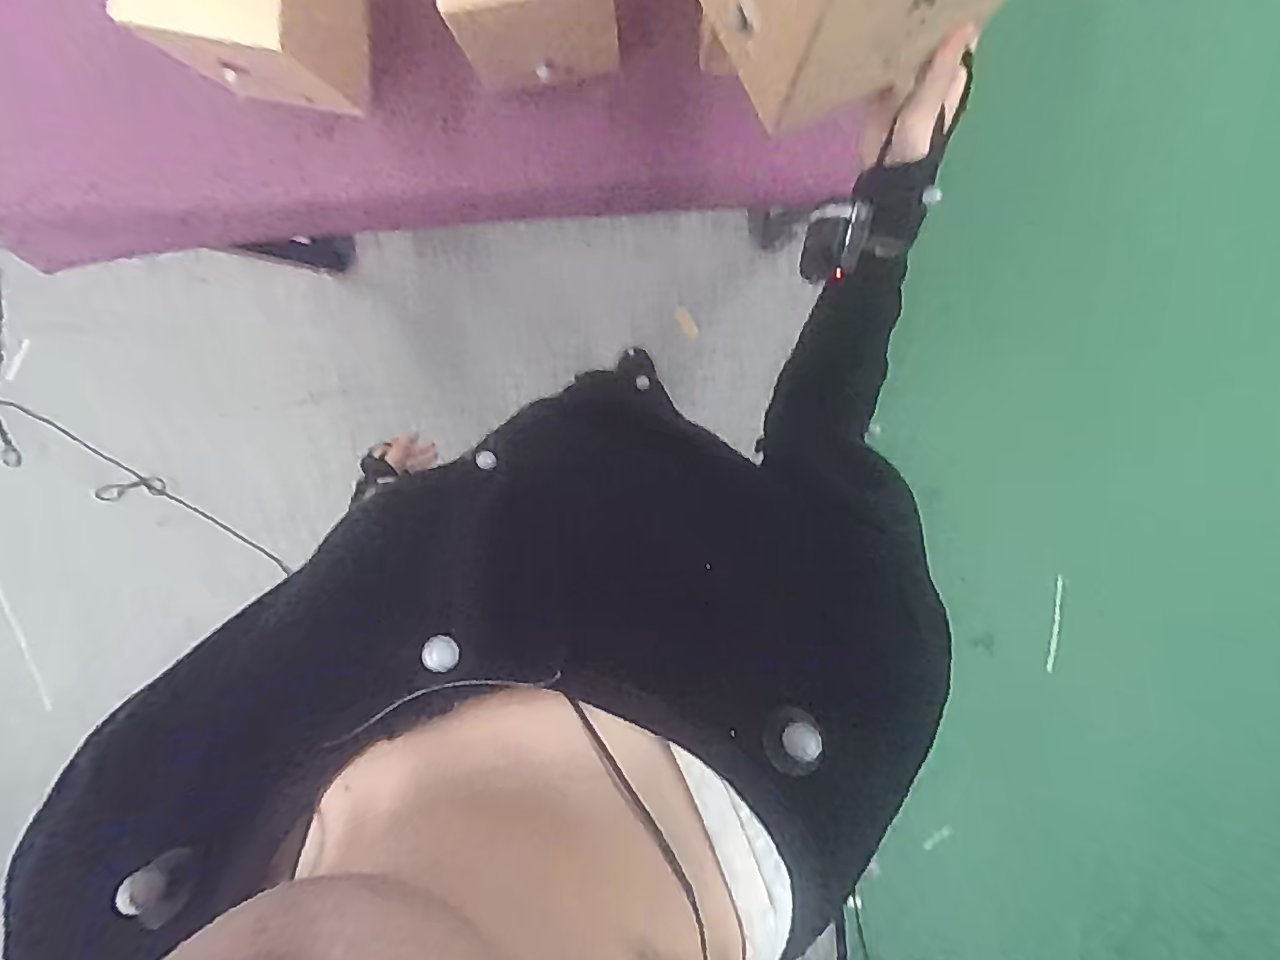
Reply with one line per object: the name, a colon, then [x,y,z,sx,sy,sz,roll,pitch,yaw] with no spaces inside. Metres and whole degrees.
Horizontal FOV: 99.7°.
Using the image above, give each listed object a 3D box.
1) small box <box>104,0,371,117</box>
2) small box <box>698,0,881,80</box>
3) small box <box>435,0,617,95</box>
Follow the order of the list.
small box: [-0.407,-0.521,0.570,0.168,0.176,0.179,10,102,-1]
small box: [0.153,-0.543,0.554,0.179,0.176,0.168,0,102,0]
small box: [-0.117,-0.542,0.559,0.168,0.176,0.179,-7,104,3]
